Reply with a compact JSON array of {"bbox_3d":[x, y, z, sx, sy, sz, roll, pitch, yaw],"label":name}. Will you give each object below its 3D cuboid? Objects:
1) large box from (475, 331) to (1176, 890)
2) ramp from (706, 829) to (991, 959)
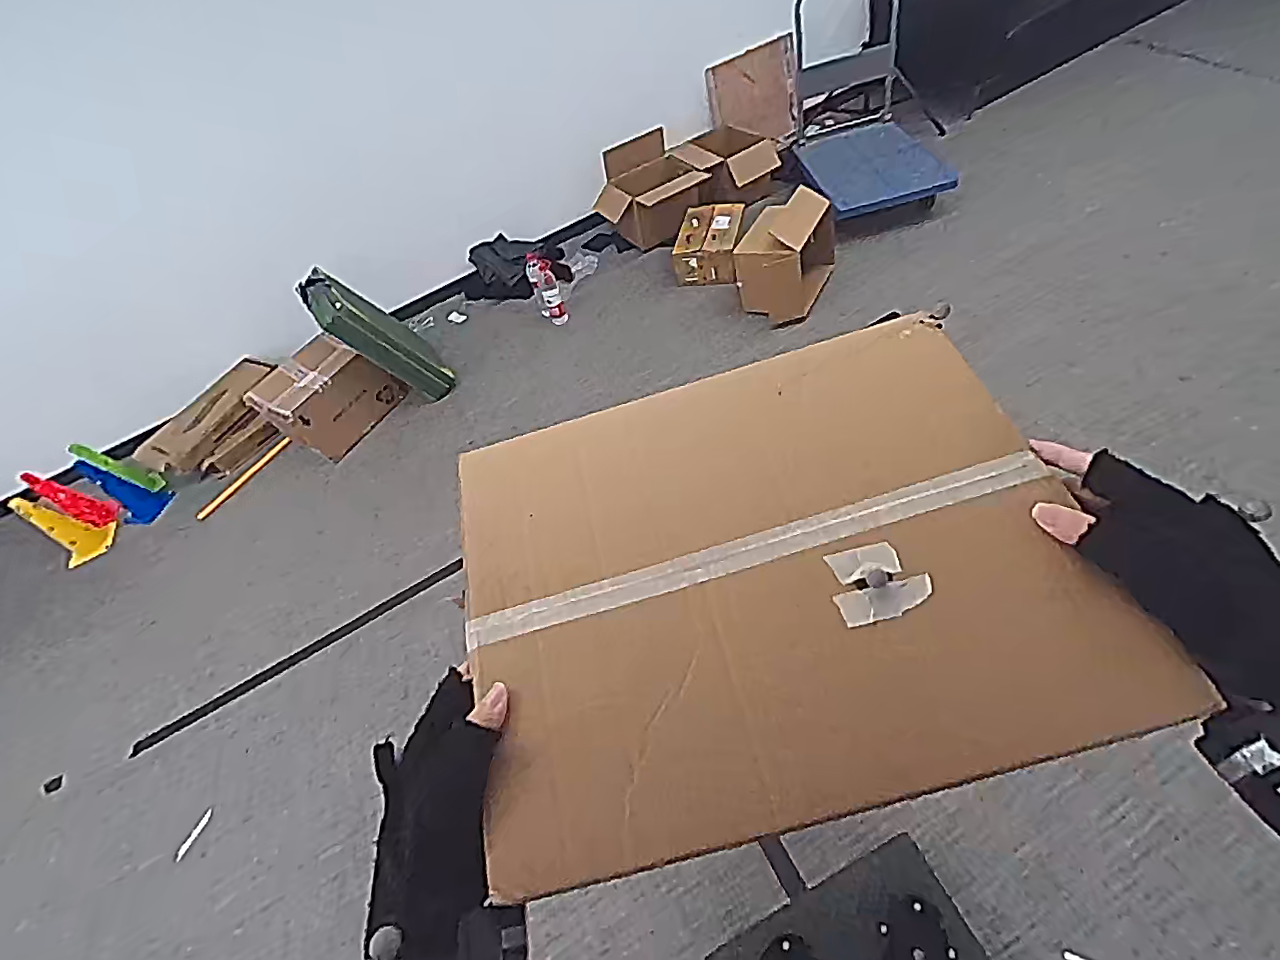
[{"bbox_3d":[0.106,0.129,0.512,0.408,0.320,0.320,-17,59,2],"label":"large box"},{"bbox_3d":[0.566,1.208,0.869,0.509,0.206,0.991,-29,51,-8],"label":"ramp"}]
